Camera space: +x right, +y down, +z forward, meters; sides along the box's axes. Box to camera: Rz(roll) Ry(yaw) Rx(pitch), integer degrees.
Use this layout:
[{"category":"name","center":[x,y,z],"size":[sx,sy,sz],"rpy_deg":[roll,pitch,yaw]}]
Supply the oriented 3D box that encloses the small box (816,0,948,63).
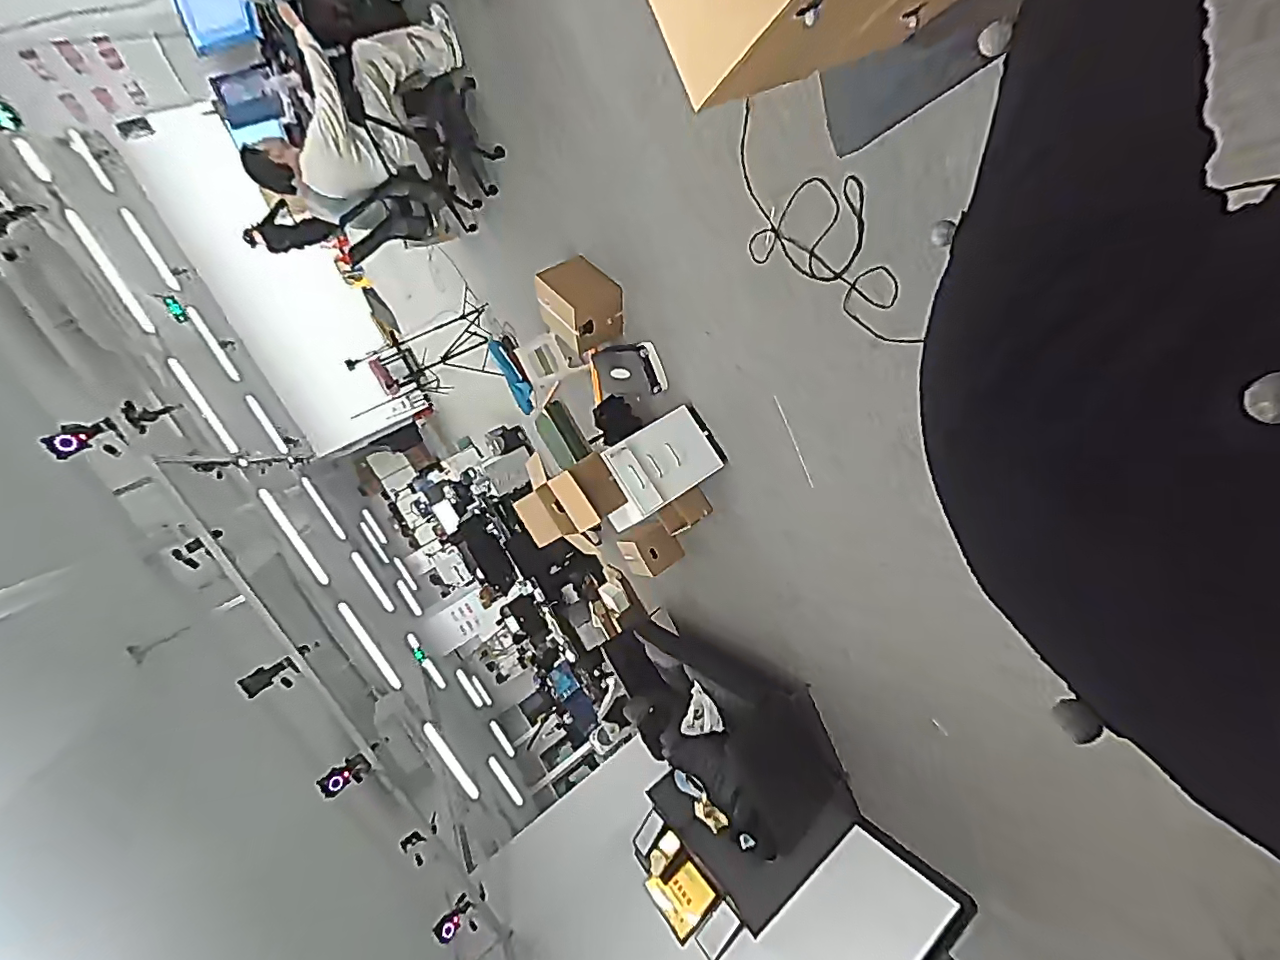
[{"category":"small box","center":[0.263,-0.570,0.535],"size":[0.179,0.176,0.168],"rpy_deg":[10,129,63]}]

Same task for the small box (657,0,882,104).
[{"category":"small box","center":[0.127,-0.492,0.490],"size":[0.168,0.176,0.179],"rpy_deg":[63,158,-12]}]
